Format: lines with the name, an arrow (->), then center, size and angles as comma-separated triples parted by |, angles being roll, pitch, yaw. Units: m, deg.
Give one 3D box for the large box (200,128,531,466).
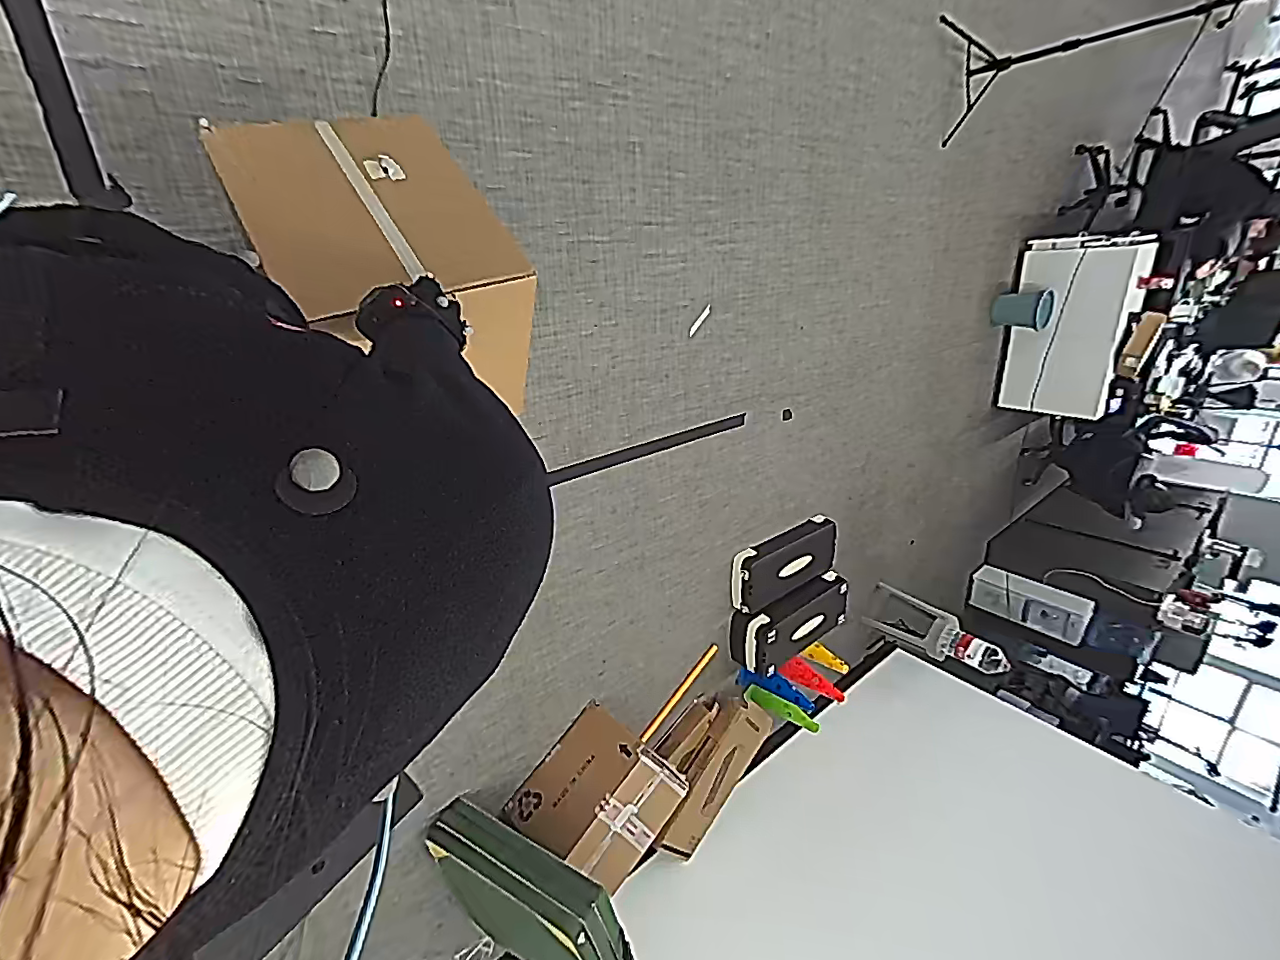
large box -> -0.419, -0.301, 0.886 | 0.320, 0.408, 0.320 | -25, 157, -30
